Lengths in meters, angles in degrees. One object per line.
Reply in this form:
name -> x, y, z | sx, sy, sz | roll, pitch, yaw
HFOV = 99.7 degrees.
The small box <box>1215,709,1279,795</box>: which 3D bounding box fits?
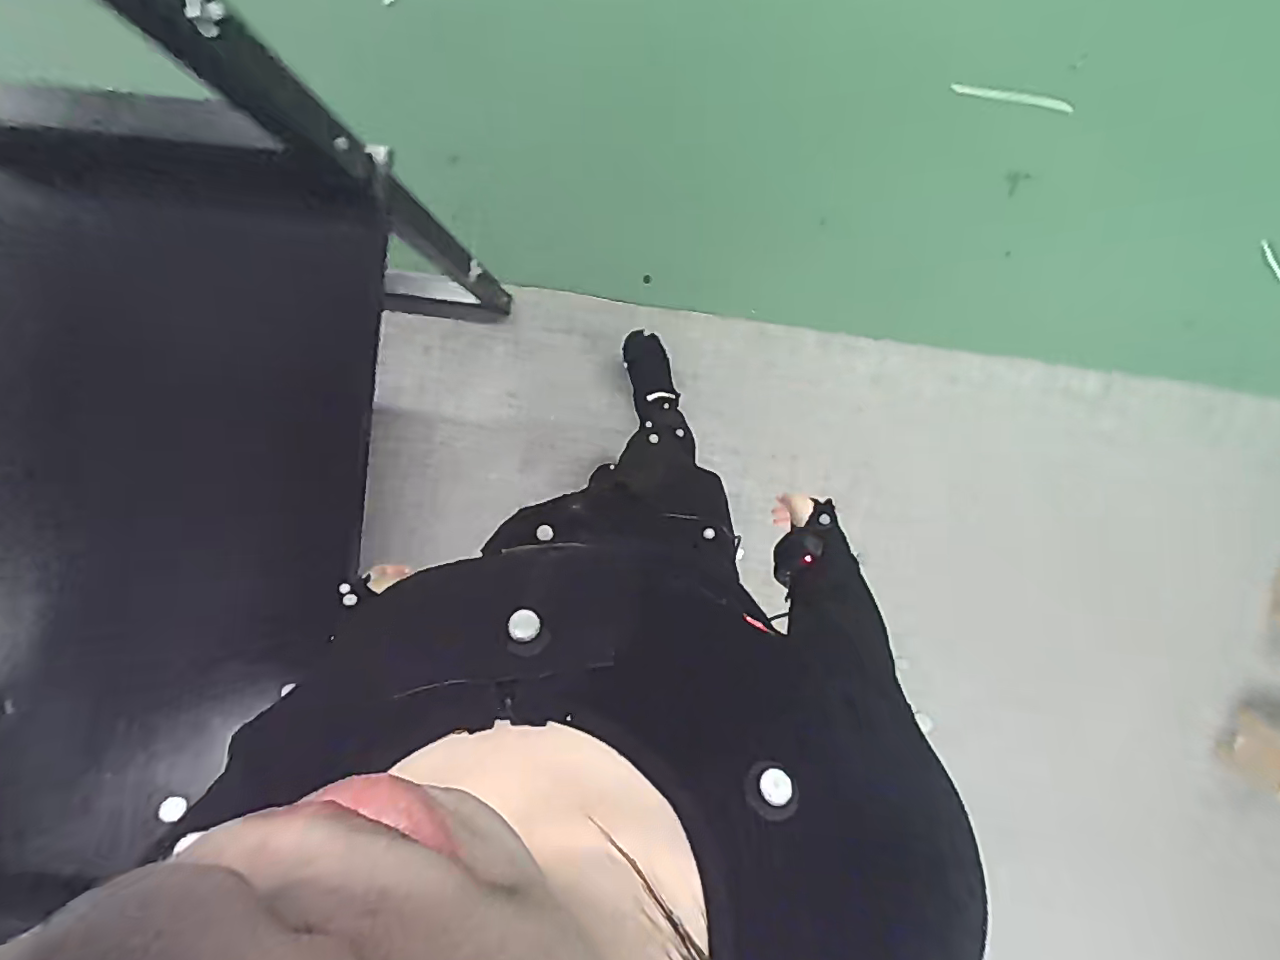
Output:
small box -> 1.729, 0.744, 1.444 | 0.179, 0.176, 0.168 | 18, 94, -1
